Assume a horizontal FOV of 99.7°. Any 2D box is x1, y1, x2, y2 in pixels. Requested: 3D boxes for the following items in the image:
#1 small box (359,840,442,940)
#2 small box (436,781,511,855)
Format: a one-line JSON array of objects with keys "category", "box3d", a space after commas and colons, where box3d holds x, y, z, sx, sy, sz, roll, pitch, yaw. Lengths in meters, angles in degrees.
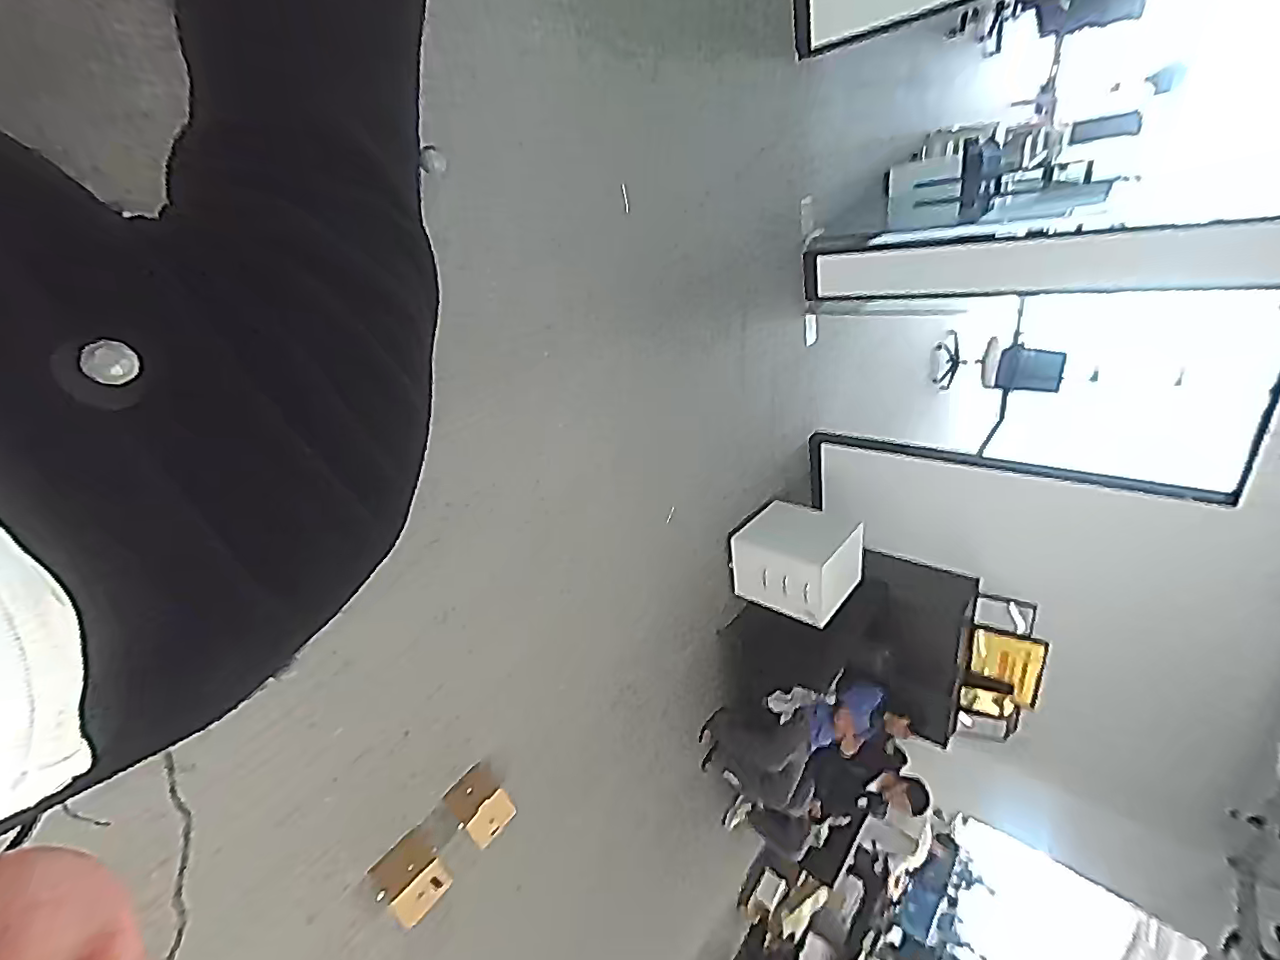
[{"category": "small box", "box3d": [-0.807, 1.370, 1.821, 0.179, 0.176, 0.168, -32, 122, -41]}, {"category": "small box", "box3d": [-0.619, 1.241, 1.997, 0.168, 0.176, 0.179, 44, 66, -49]}]
